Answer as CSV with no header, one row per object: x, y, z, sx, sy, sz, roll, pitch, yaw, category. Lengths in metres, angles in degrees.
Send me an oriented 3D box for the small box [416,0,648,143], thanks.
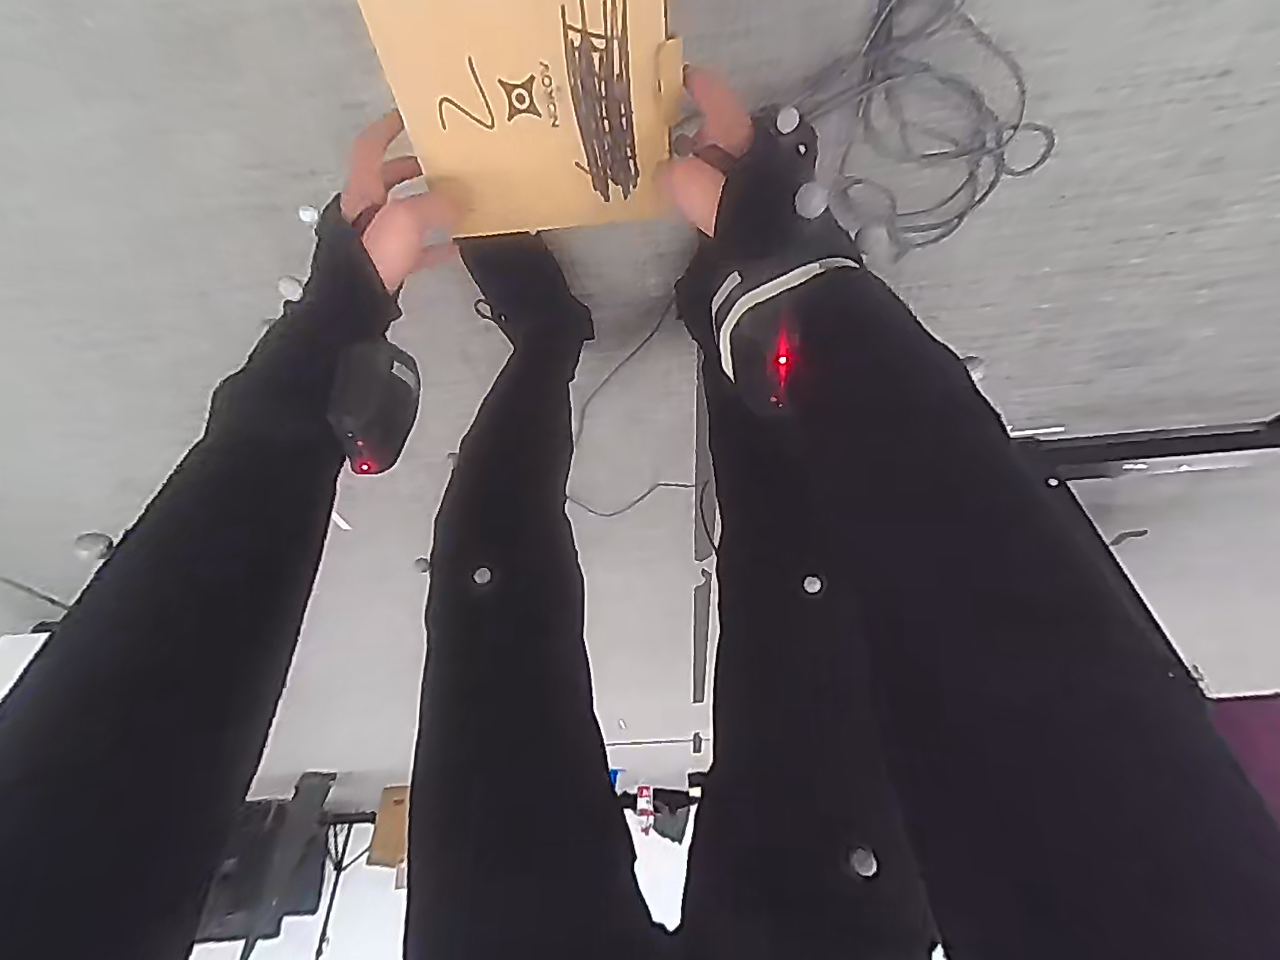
-0.087,-0.428,0.476,0.179,0.176,0.168,-5,142,4,small box
